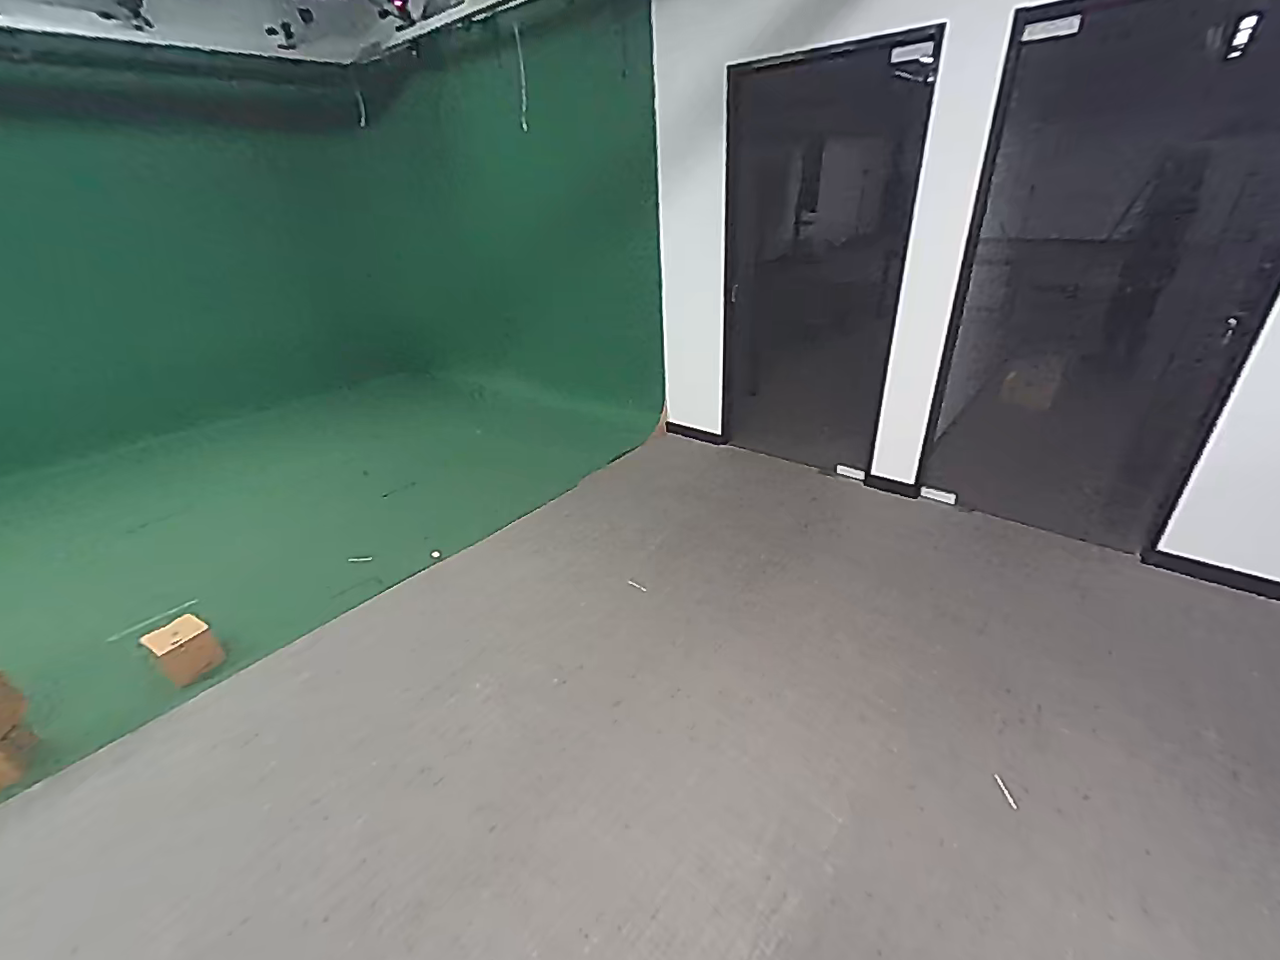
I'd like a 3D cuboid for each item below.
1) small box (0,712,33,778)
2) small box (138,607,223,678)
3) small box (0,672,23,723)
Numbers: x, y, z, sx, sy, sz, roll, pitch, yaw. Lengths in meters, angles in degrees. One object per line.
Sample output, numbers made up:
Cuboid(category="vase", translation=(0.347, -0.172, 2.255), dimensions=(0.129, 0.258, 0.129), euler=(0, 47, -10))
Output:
Cuboid(category="small box", translation=(-2.067, 0.837, 1.688), dimensions=(0.168, 0.176, 0.179), euler=(-19, 33, -28))
Cuboid(category="small box", translation=(-1.740, 0.619, 2.053), dimensions=(0.179, 0.176, 0.168), euler=(14, 32, 29))
Cuboid(category="small box", translation=(-2.049, 0.684, 1.626), dimensions=(0.168, 0.176, 0.179), euler=(-7, 28, -10))
